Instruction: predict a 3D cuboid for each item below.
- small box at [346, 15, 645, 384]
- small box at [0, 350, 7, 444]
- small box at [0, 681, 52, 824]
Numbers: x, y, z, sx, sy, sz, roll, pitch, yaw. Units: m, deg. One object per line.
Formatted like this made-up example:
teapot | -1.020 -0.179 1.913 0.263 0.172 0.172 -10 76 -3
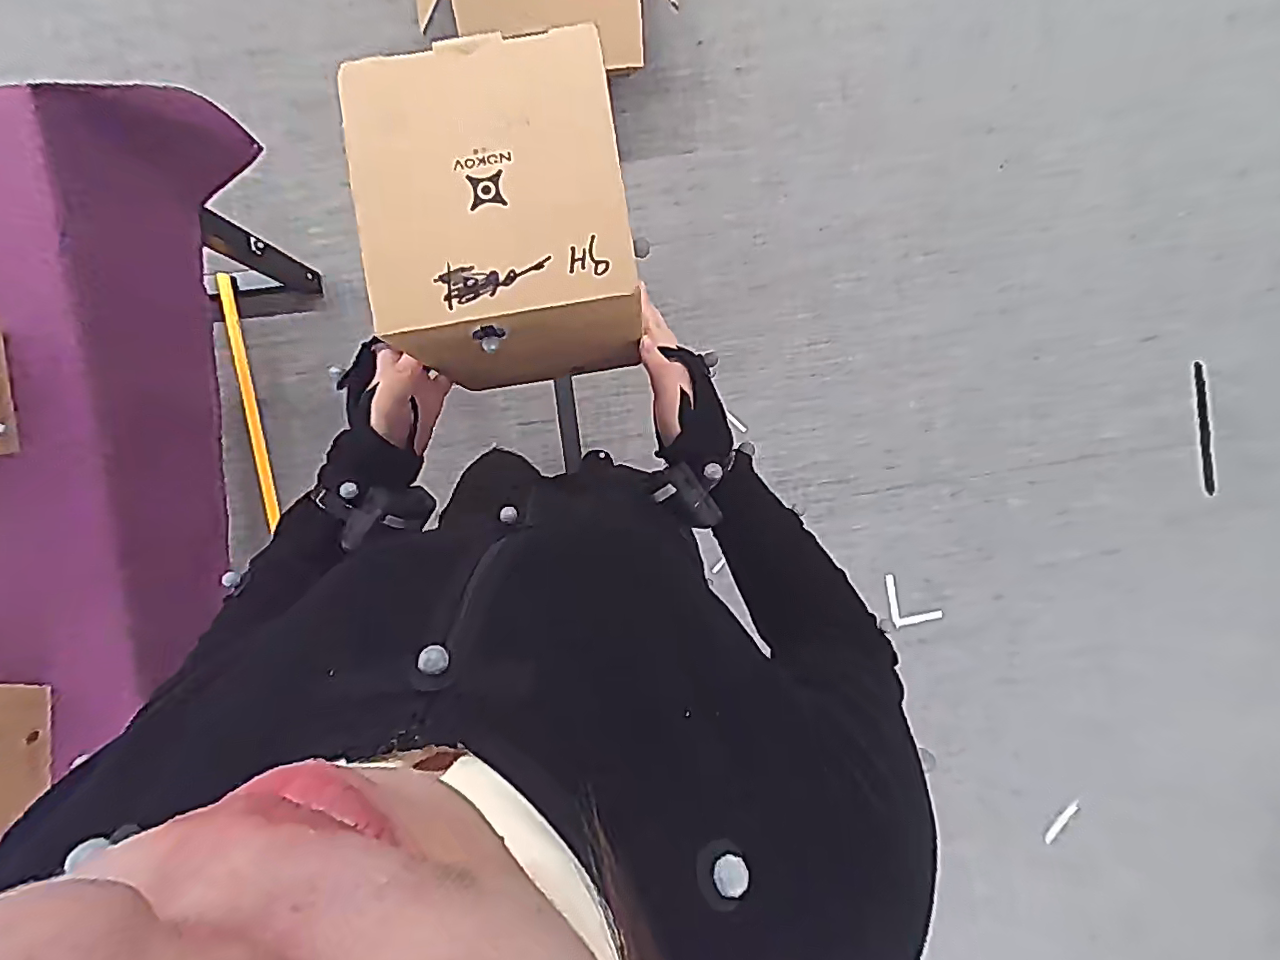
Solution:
small box | -0.089 -0.186 0.408 0.168 0.176 0.179 -9 87 1
small box | -0.907 -0.107 0.625 0.179 0.176 0.168 -4 94 -2
small box | -0.886 0.355 0.659 0.179 0.176 0.168 4 93 -3
